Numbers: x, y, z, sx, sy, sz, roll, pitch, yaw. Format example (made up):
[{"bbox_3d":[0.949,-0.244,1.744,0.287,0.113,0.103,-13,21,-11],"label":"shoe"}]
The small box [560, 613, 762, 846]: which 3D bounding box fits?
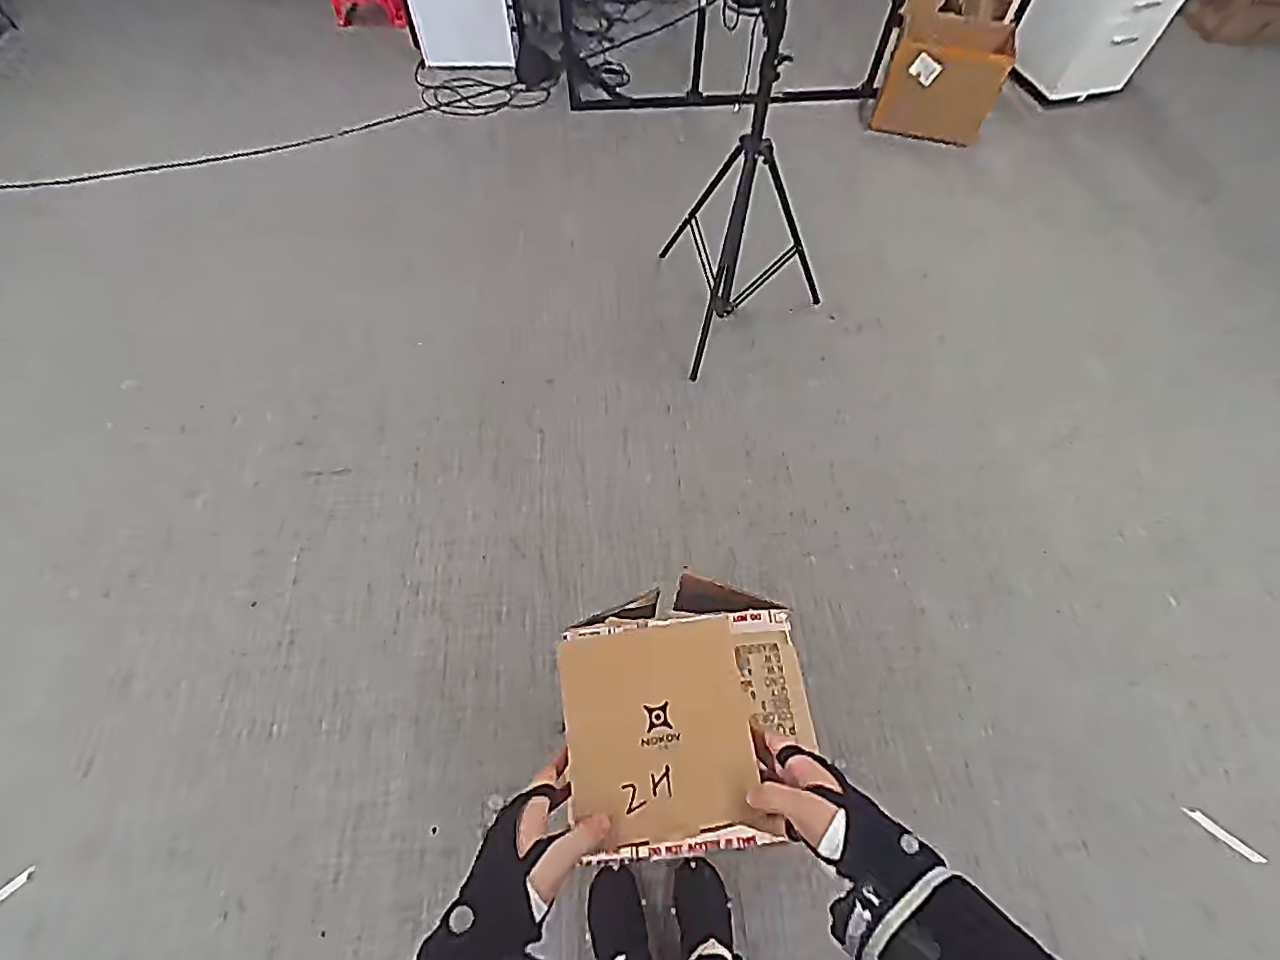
[{"bbox_3d":[0.010,0.247,0.567,0.168,0.176,0.179,-8,72,-6],"label":"small box"}]
